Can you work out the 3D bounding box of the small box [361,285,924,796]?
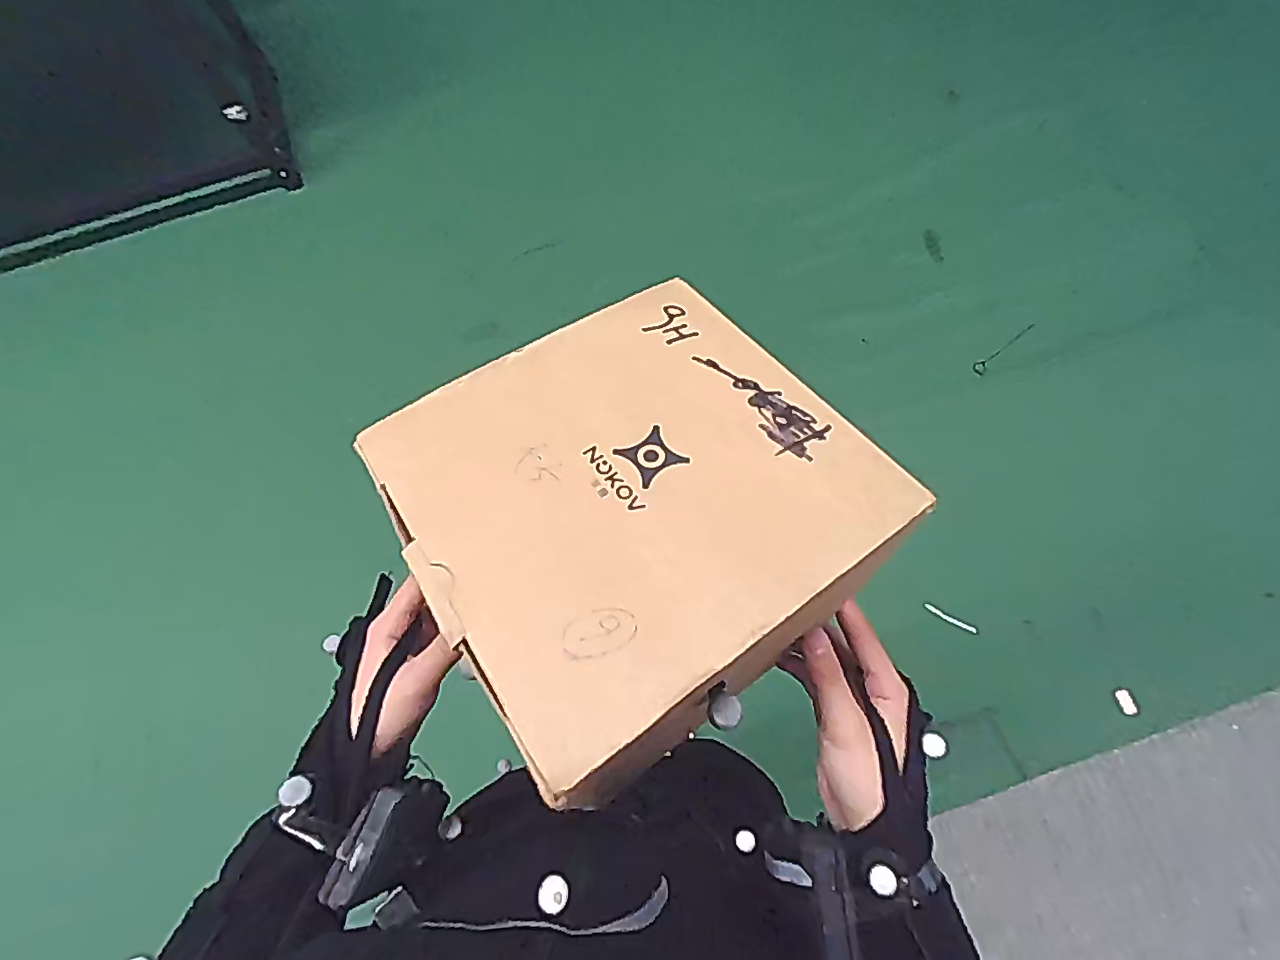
[{"bbox_3d":[-0.002,0.040,0.286,0.179,0.176,0.168,-31,63,-17],"label":"small box"}]
